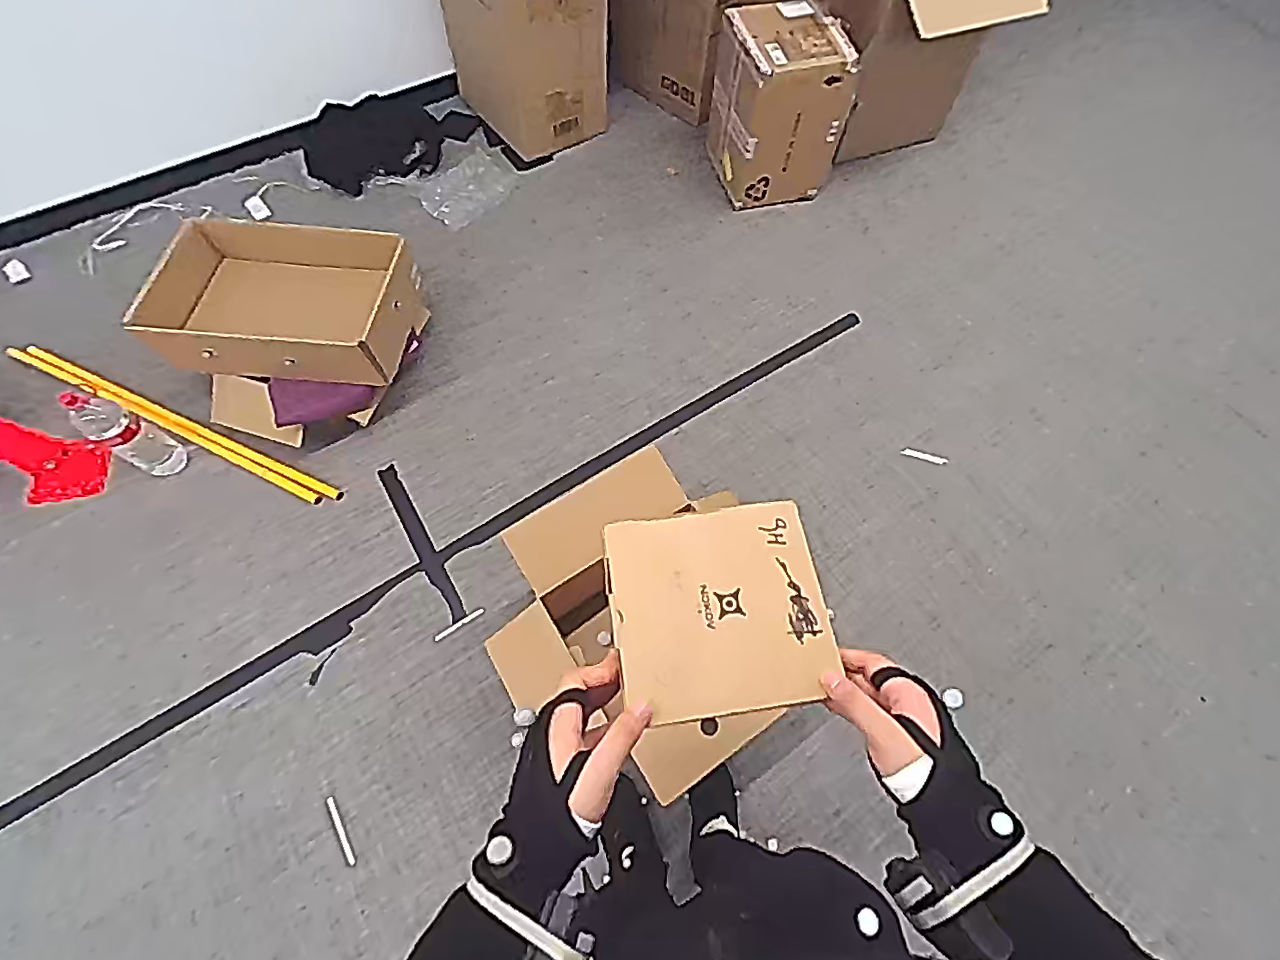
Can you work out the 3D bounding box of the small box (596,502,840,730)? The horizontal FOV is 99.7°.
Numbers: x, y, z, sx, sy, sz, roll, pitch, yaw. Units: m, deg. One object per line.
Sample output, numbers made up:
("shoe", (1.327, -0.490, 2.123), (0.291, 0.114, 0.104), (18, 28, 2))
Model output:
("small box", (0.059, 0.137, 0.516), (0.179, 0.176, 0.168), (-8, 65, -4))
